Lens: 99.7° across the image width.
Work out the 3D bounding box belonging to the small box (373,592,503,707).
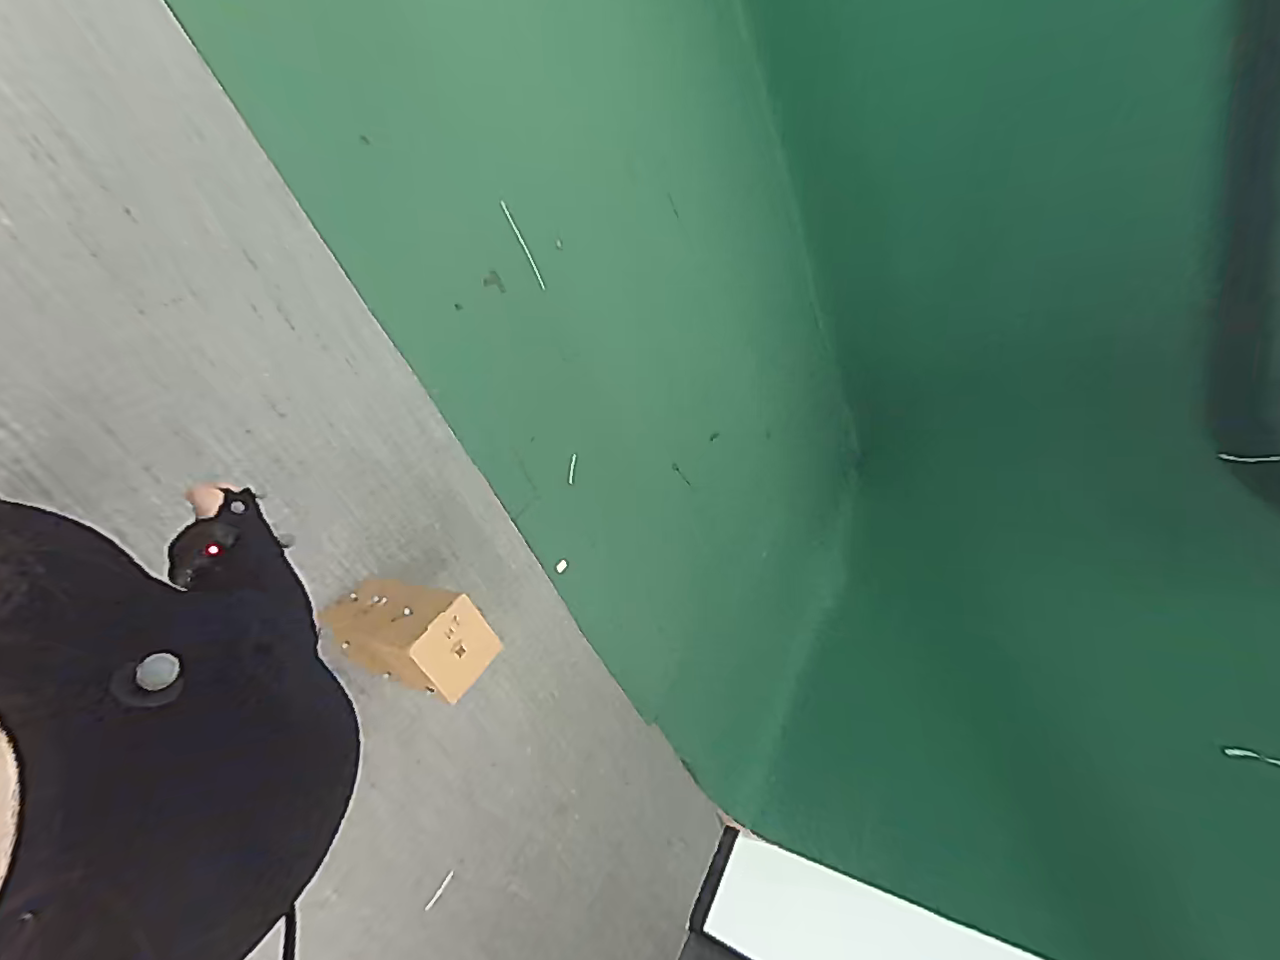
[{"bbox_3d":[-0.448,0.366,1.201,0.168,0.176,0.179,-49,124,-41],"label":"small box"}]

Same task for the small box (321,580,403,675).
[{"bbox_3d":[-0.692,0.379,1.419,0.168,0.176,0.179,-45,120,-41],"label":"small box"}]

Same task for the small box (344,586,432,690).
[{"bbox_3d":[-0.571,0.373,1.311,0.168,0.176,0.179,-49,123,-40],"label":"small box"}]
